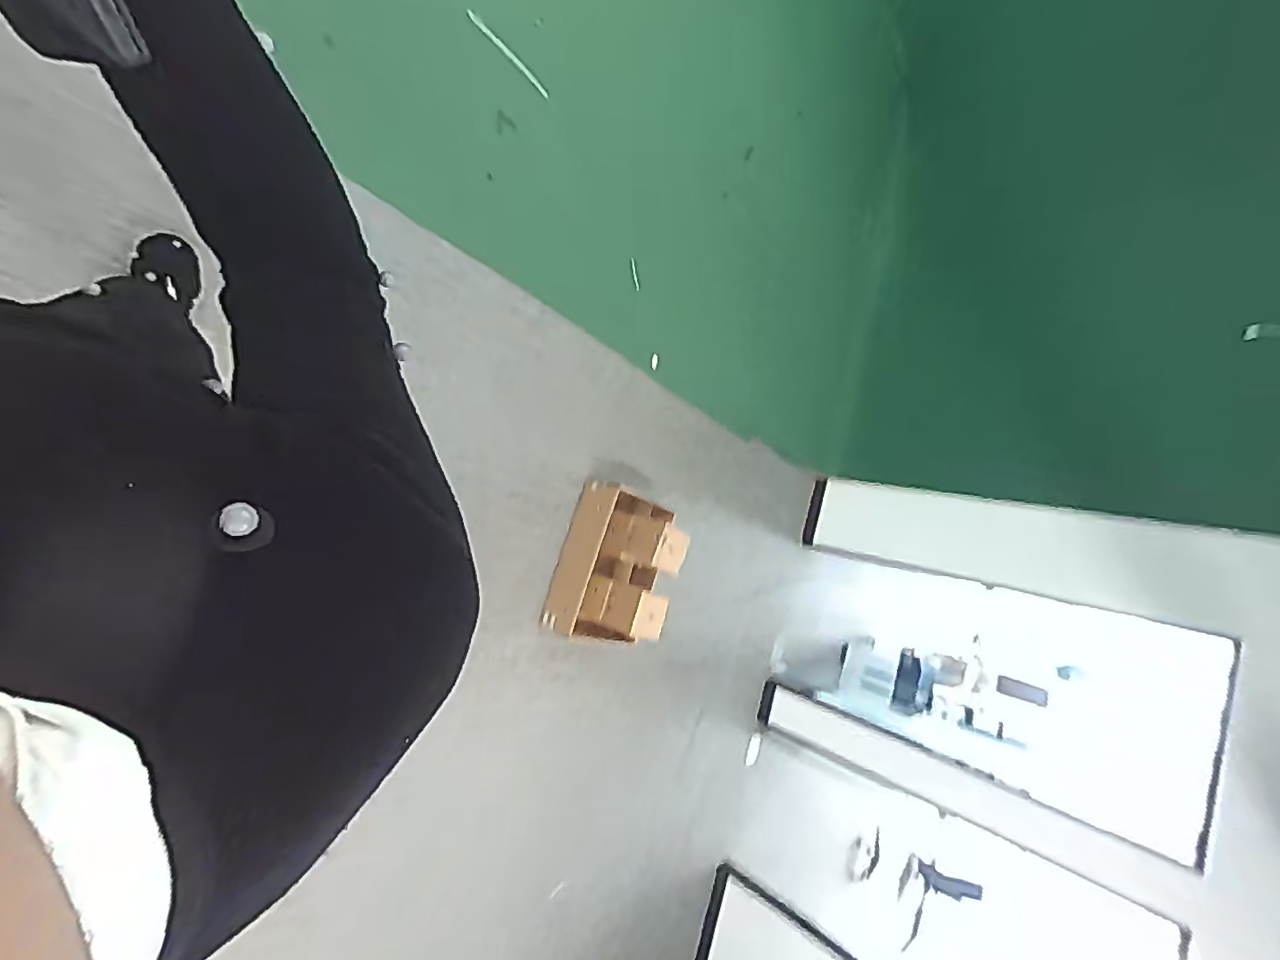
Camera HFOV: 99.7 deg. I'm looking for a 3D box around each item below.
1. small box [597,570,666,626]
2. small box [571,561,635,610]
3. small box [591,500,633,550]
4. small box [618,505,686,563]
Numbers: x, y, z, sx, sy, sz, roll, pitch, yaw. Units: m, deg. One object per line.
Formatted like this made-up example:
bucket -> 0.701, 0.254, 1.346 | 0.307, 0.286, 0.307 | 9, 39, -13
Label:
small box -> -0.034, 0.458, 2.110 | 0.179, 0.176, 0.168 | 26, 77, -46
small box -> -0.156, 0.437, 2.216 | 0.179, 0.176, 0.168 | 23, 81, -47
small box -> -0.076, 0.189, 2.246 | 0.179, 0.176, 0.168 | 23, 83, -47
small box -> 0.046, 0.209, 2.137 | 0.179, 0.176, 0.168 | 33, 74, -47
